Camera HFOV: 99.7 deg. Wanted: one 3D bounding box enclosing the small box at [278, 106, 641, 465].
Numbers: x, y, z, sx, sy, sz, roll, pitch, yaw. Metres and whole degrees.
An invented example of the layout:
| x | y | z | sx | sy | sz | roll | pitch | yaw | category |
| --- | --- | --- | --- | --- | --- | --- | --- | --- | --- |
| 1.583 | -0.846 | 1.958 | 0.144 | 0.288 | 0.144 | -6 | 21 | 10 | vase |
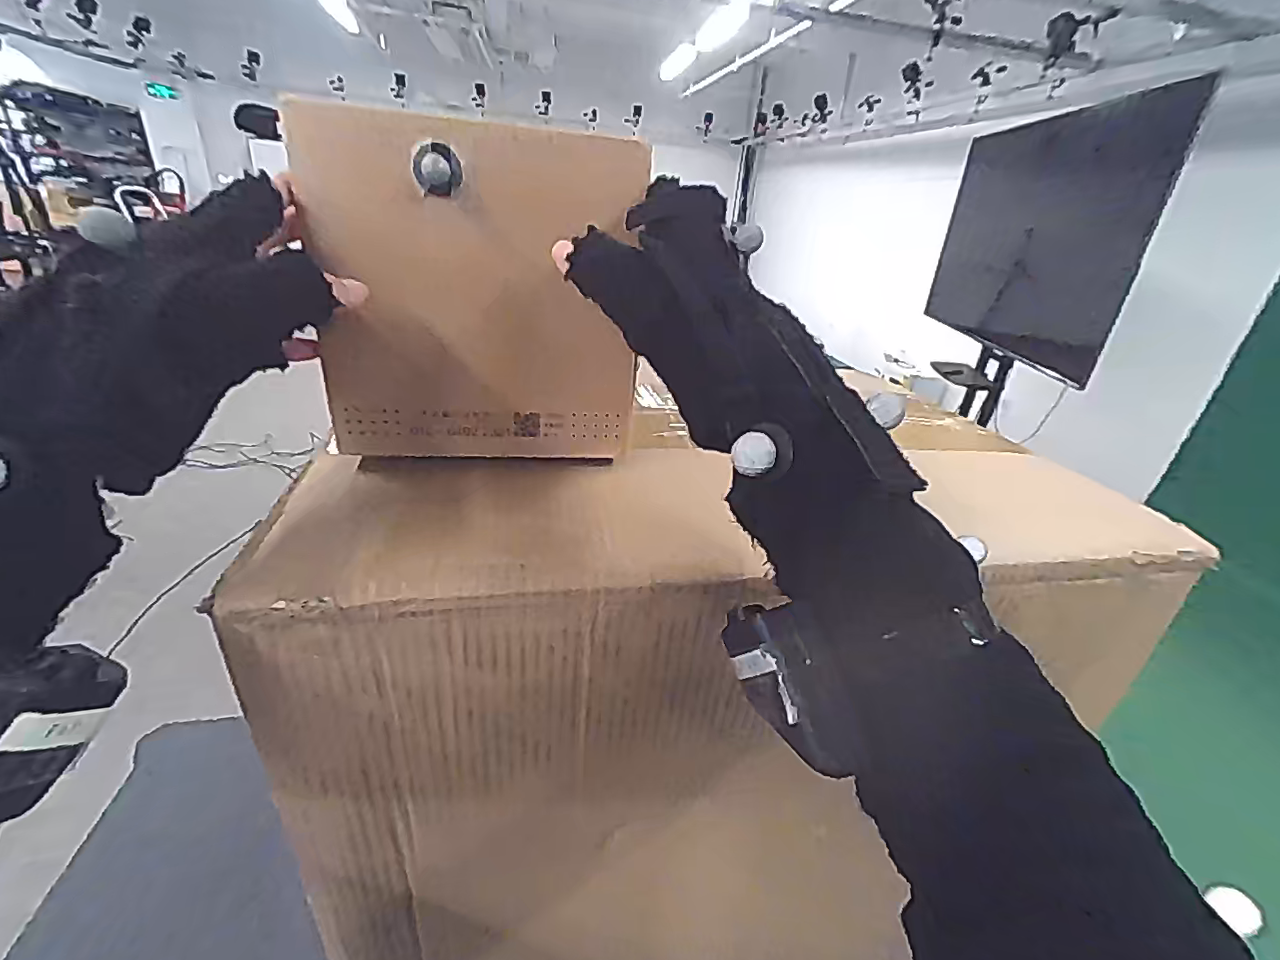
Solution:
| x | y | z | sx | sy | sz | roll | pitch | yaw | category |
| --- | --- | --- | --- | --- | --- | --- | --- | --- | --- |
| -0.098 | -0.118 | 0.354 | 0.168 | 0.176 | 0.179 | -1 | 24 | -10 | small box |
